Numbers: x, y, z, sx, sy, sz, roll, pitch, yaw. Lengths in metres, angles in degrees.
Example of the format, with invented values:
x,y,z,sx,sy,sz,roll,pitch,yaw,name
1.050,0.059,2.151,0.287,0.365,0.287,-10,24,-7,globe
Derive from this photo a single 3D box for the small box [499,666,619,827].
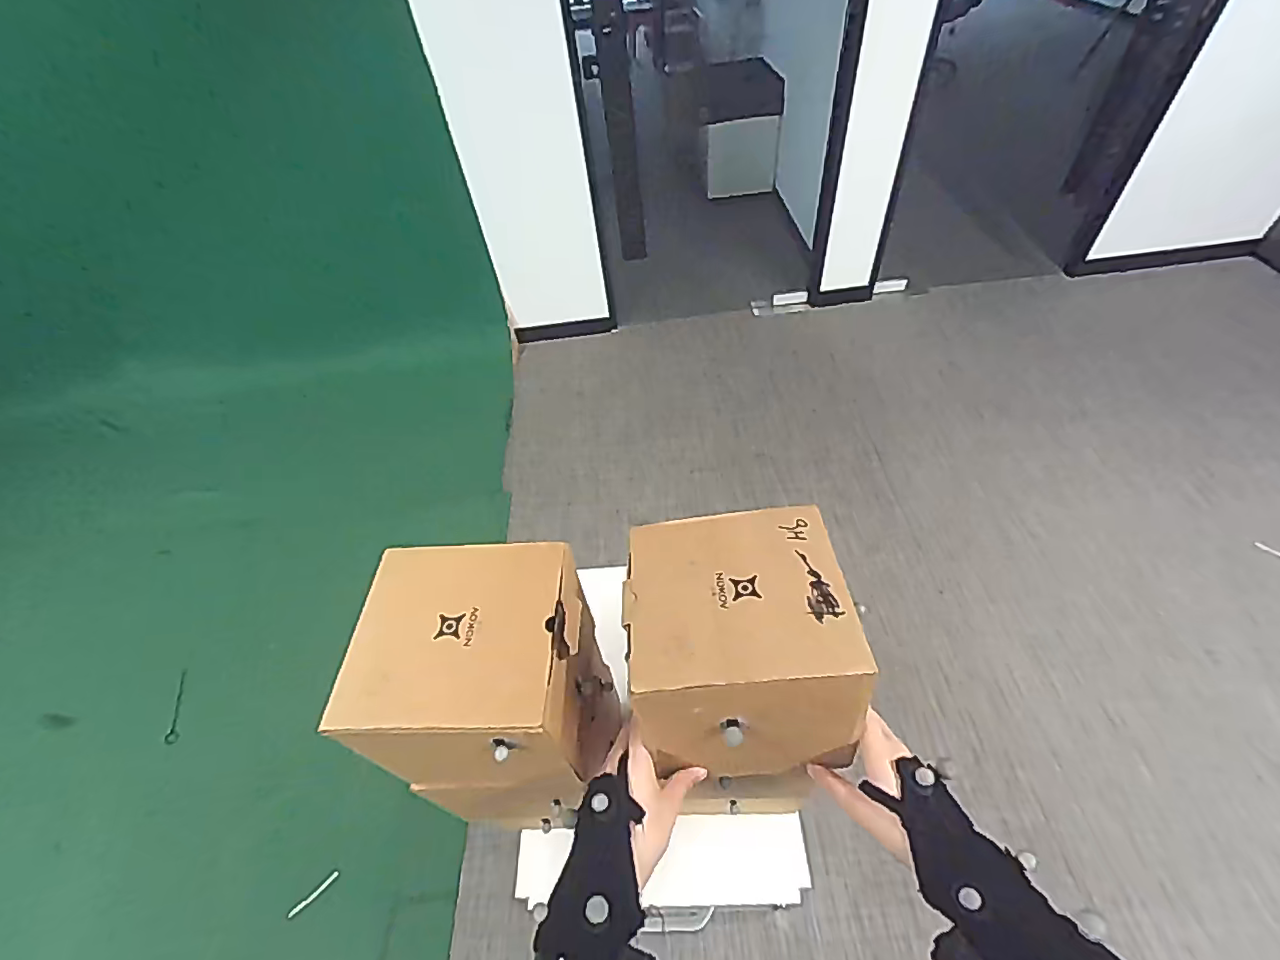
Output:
x,y,z,sx,sy,sz,roll,pitch,yaw,name
-0.119,0.380,0.764,0.168,0.176,0.179,-2,49,2,small box

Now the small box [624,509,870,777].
x,y,z,sx,sy,sz,roll,pitch,yaw,name
0.088,0.150,0.489,0.179,0.176,0.168,-7,42,6,small box

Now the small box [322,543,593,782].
x,y,z,sx,sy,sz,roll,pitch,yaw,name
-0.147,0.176,0.512,0.179,0.176,0.168,-2,49,3,small box

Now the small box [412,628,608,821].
x,y,z,sx,sy,sz,roll,pitch,yaw,name
-0.131,0.287,0.631,0.179,0.176,0.168,-4,48,3,small box

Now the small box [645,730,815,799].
x,y,z,sx,sy,sz,roll,pitch,yaw,name
0.102,0.260,0.623,0.179,0.176,0.168,-3,49,5,small box
